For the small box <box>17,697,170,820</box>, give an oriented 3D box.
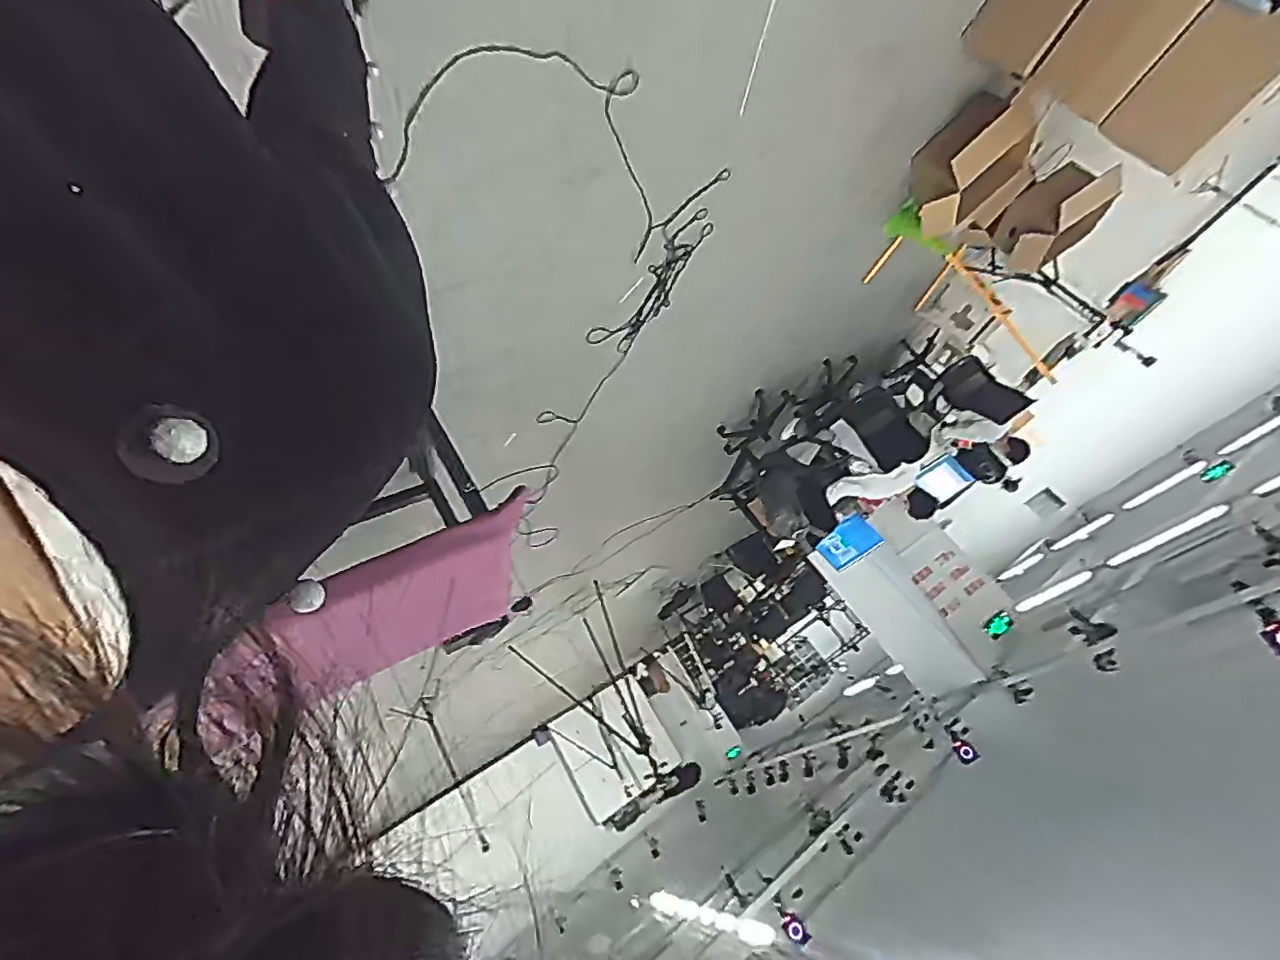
[{"bbox_3d":[-1.184,0.602,1.176,0.179,0.176,0.168,-24,154,-26],"label":"small box"}]
